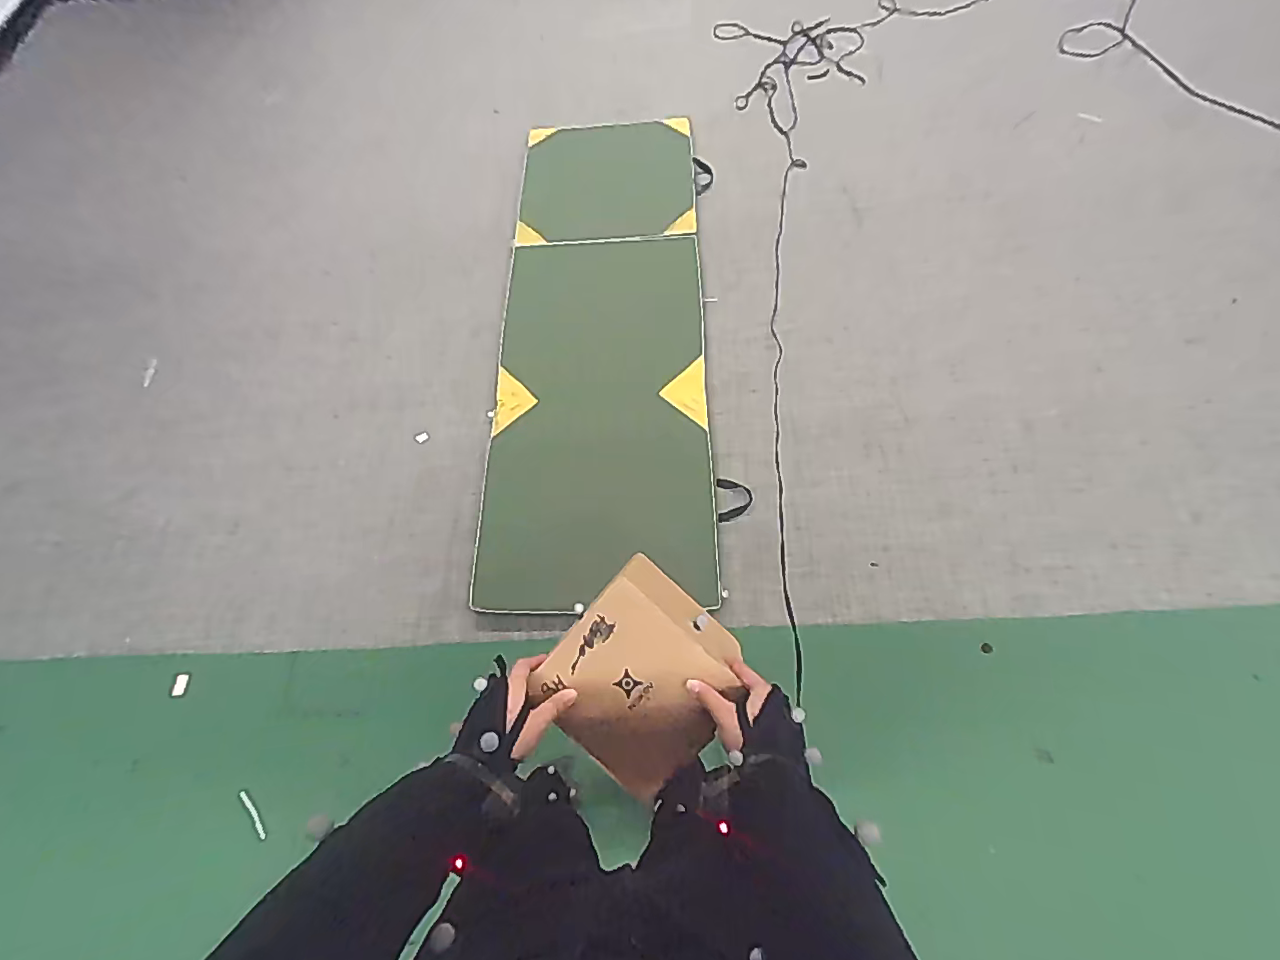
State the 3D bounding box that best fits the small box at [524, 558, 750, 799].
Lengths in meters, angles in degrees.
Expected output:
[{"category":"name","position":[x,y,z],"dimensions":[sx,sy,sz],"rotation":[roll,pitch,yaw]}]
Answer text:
[{"category":"small box","position":[0.002,0.210,0.631],"dimensions":[0.179,0.176,0.168],"rotation":[43,93,4]}]
